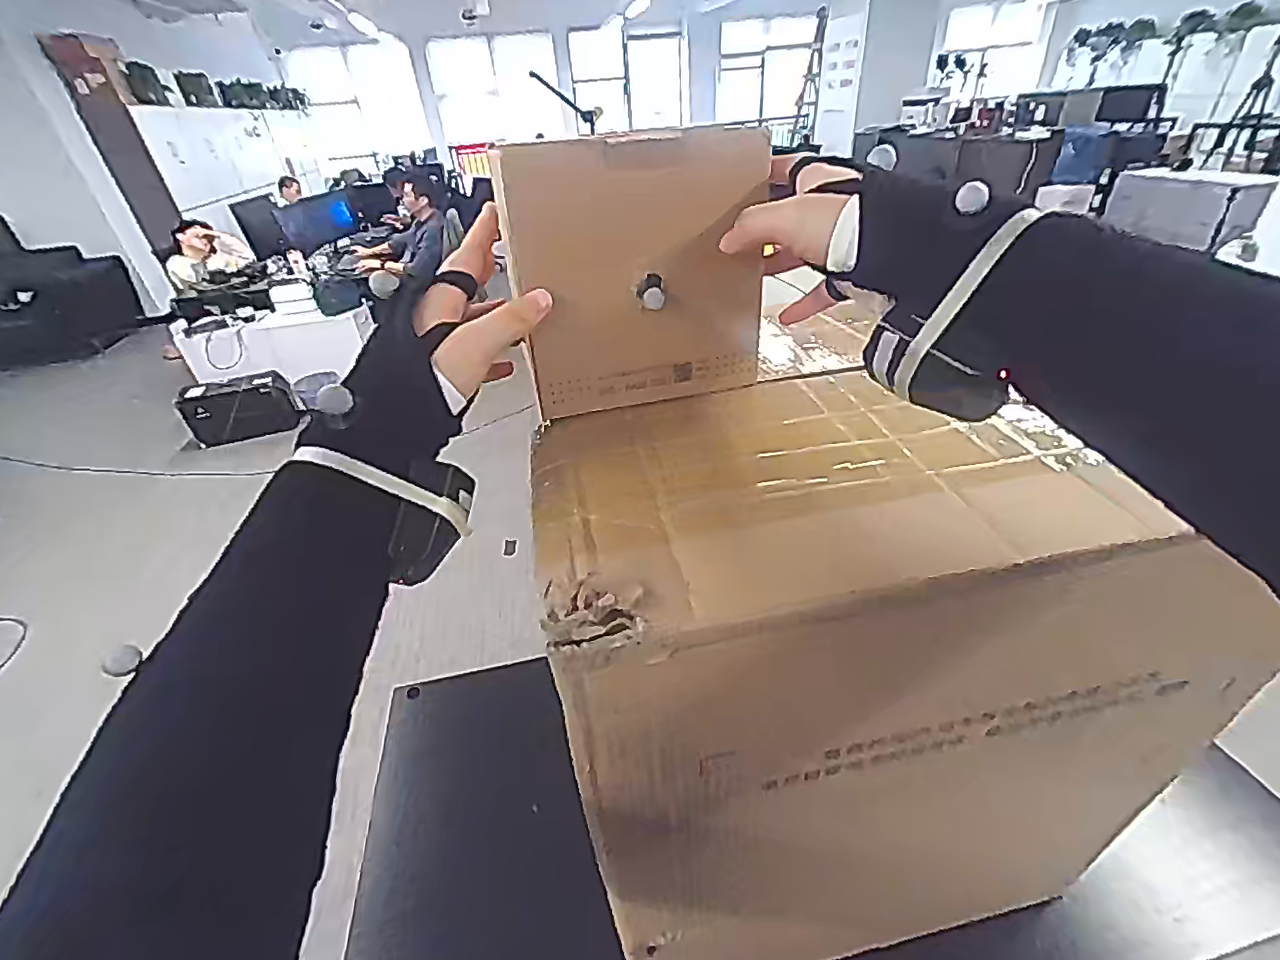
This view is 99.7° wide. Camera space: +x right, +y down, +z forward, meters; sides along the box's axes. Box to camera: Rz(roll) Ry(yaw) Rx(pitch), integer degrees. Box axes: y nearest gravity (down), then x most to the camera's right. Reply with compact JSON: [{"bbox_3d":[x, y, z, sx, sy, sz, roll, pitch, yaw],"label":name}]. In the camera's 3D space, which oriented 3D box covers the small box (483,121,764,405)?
[{"bbox_3d":[-0.018,-0.166,0.416,0.168,0.176,0.179,-12,33,-11],"label":"small box"}]
